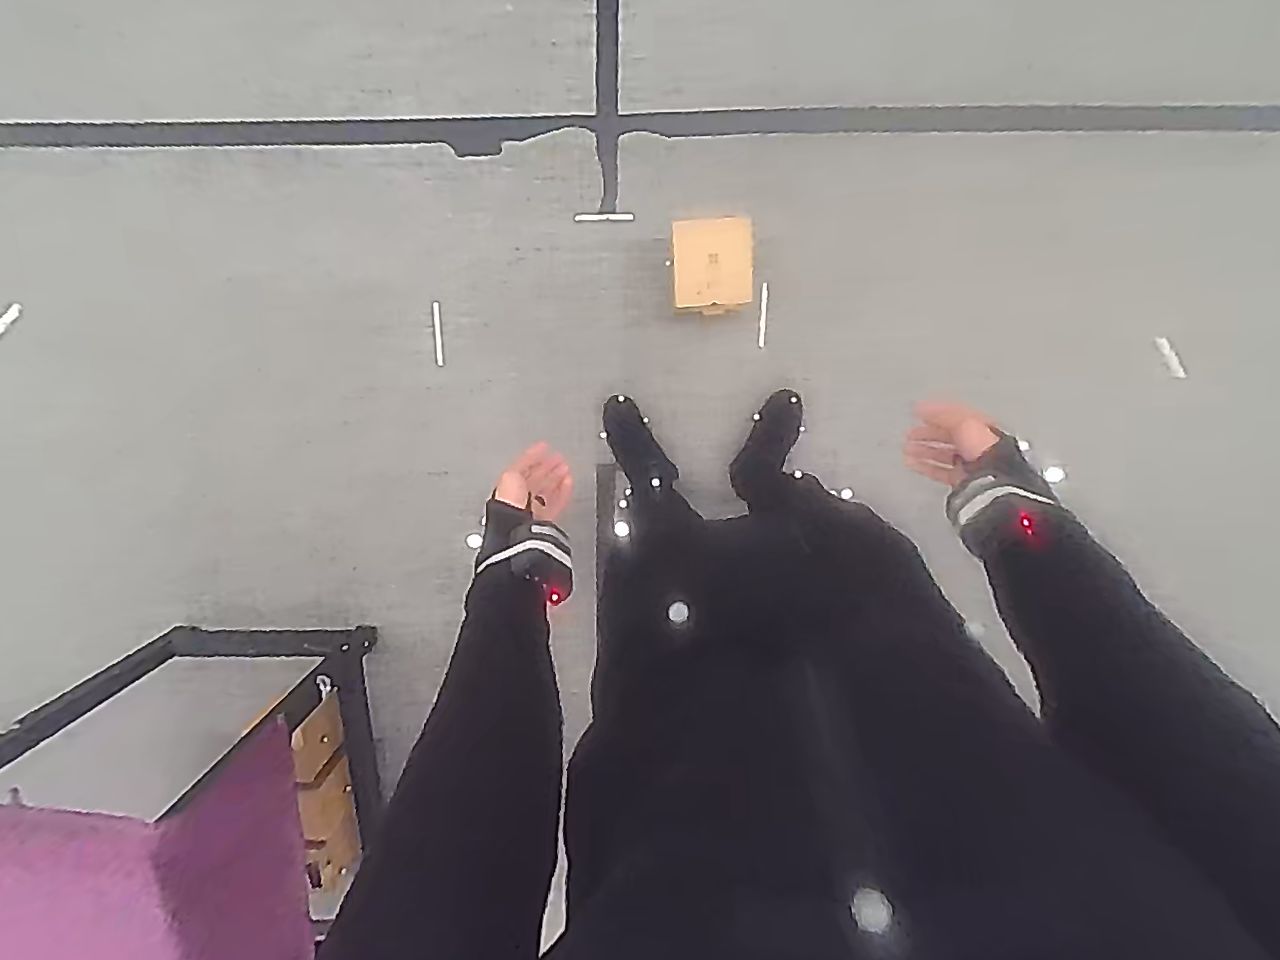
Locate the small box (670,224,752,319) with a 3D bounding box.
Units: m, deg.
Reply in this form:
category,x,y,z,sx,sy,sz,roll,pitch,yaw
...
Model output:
category,x,y,z,sx,sy,sz,roll,pitch,yaw
small box,0.155,-0.461,1.218,0.168,0.176,0.179,-3,104,2
